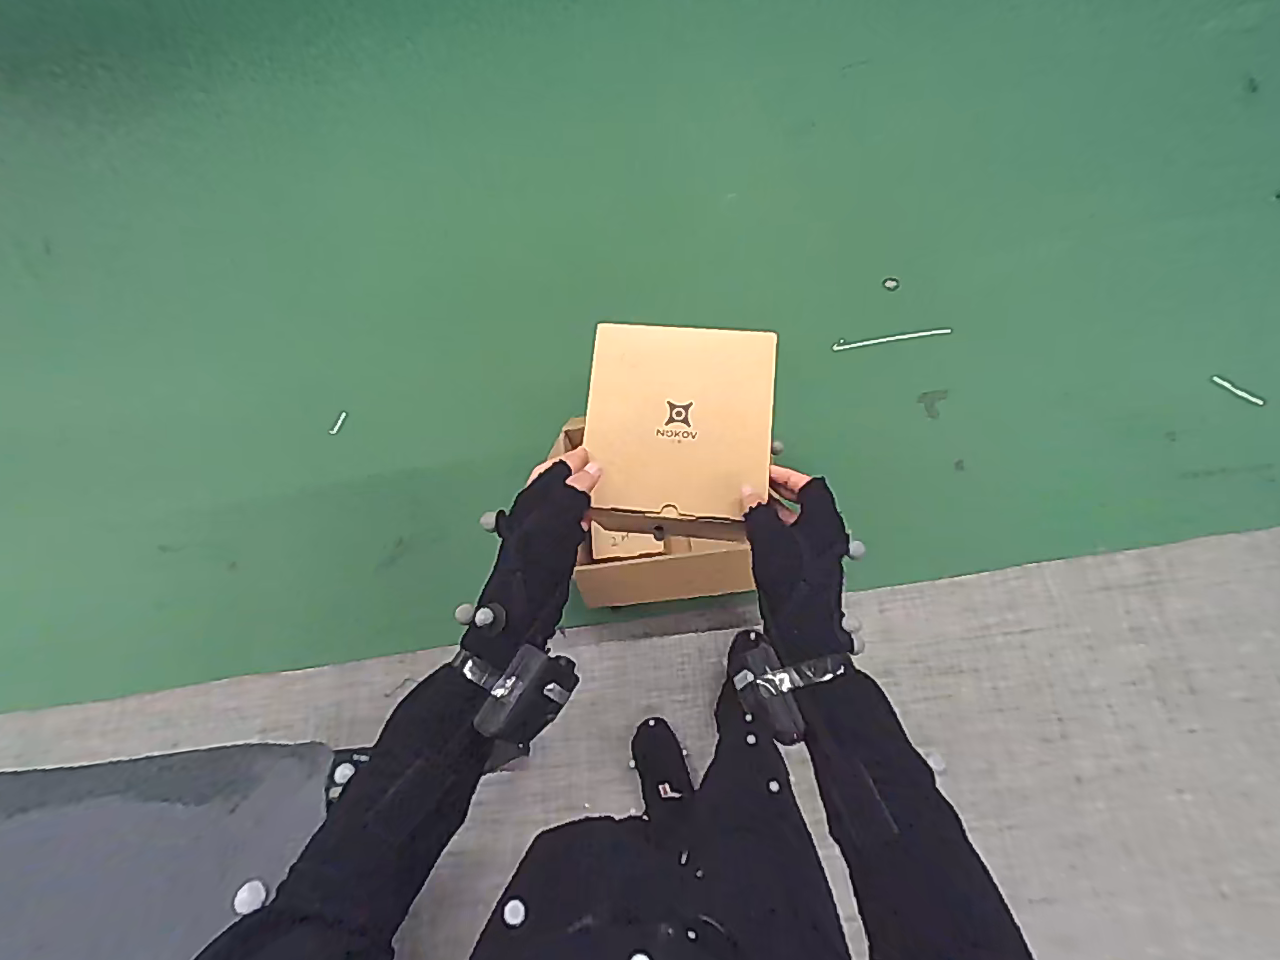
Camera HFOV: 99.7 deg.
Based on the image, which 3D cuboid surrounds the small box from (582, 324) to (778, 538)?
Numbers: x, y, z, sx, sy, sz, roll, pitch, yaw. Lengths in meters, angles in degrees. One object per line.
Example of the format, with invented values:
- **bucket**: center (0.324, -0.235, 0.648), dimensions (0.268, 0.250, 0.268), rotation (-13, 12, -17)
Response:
- **small box**: center (0.042, -0.040, 0.560), dimensions (0.168, 0.176, 0.179), rotation (4, 80, 5)
